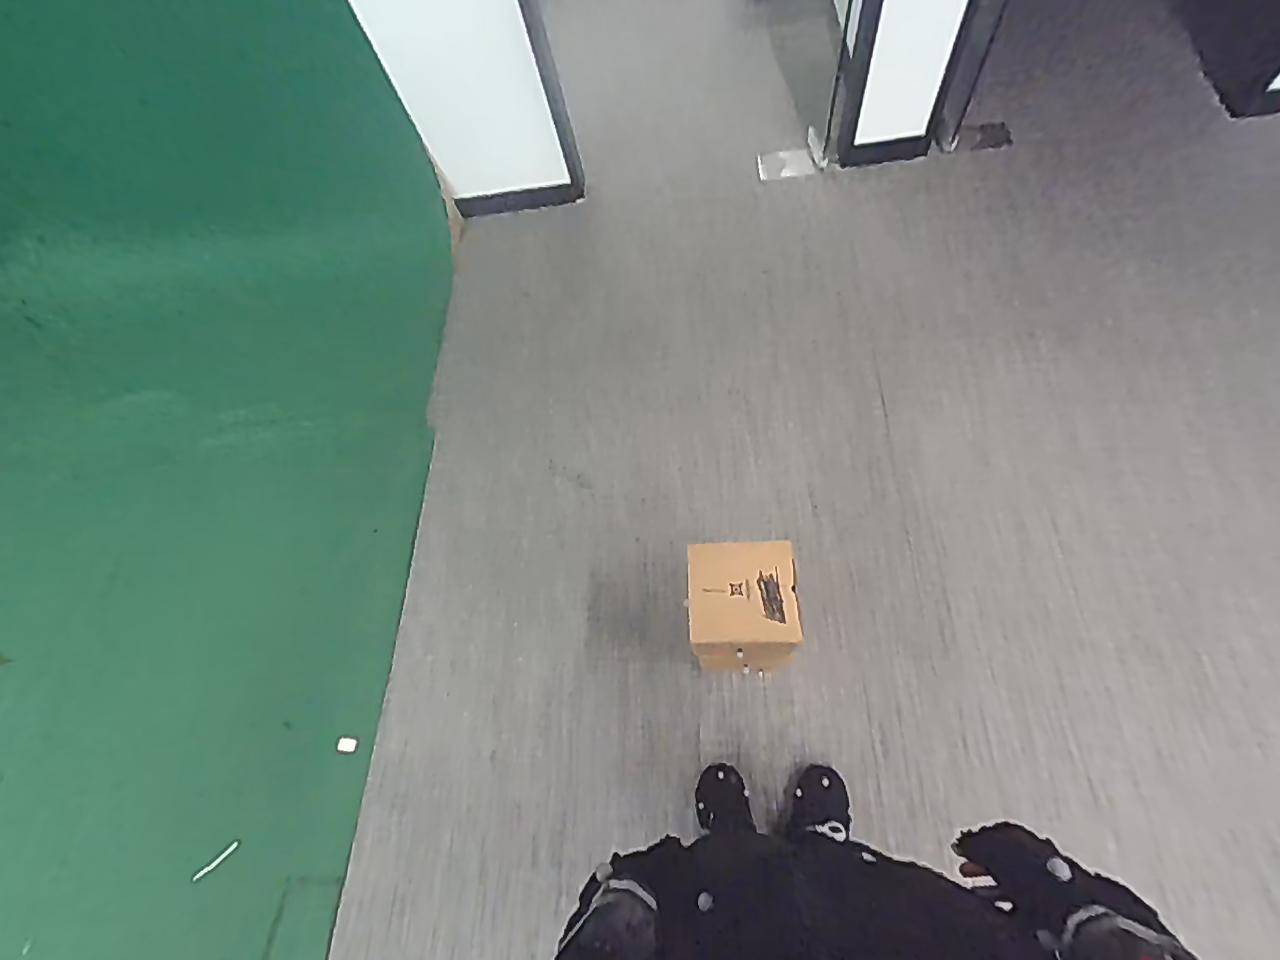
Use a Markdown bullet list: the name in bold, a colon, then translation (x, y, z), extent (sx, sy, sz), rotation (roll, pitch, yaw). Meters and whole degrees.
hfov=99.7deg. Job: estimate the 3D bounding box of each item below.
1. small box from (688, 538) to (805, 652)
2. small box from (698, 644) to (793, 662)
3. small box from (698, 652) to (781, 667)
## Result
- **small box**: translation (0.178, 0.208, 0.952), extent (0.179, 0.176, 0.168), rotation (-5, 66, 6)
- **small box**: translation (0.206, 0.275, 1.099), extent (0.179, 0.176, 0.168), rotation (-3, 66, 8)
- **small box**: translation (0.226, 0.337, 1.250), extent (0.179, 0.176, 0.168), rotation (-4, 65, 10)
